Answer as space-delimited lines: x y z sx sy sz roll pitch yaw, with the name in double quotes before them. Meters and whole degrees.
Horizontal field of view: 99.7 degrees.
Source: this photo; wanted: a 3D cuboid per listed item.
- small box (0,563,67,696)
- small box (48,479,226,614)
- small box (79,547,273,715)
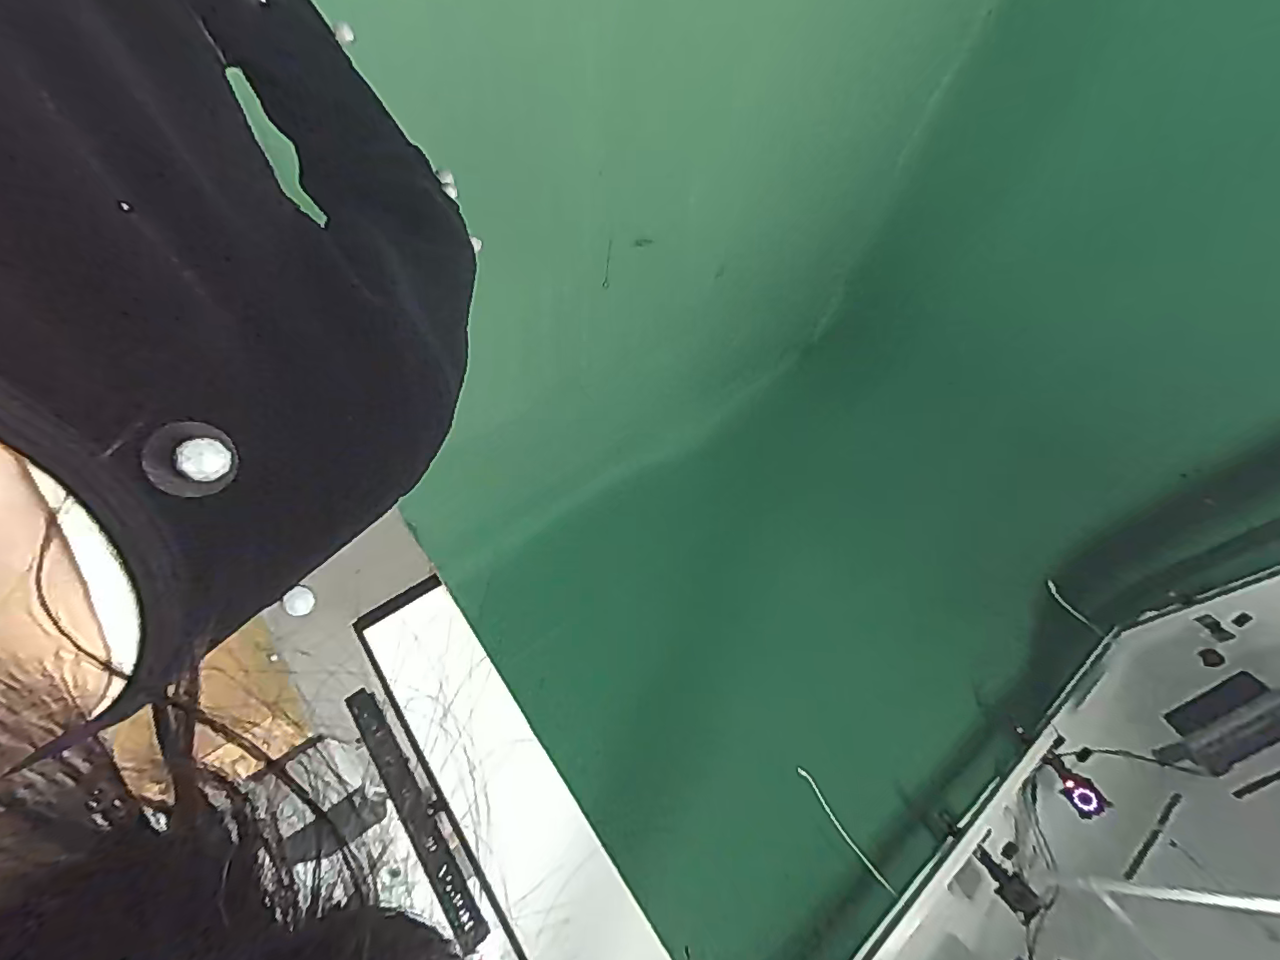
"small box" -1.042 0.233 0.814 0.168 0.176 0.179 -30 155 -26
"small box" -0.856 0.131 0.933 0.179 0.176 0.168 -31 157 -25
"small box" -0.748 0.242 0.877 0.179 0.176 0.168 -30 157 -25
